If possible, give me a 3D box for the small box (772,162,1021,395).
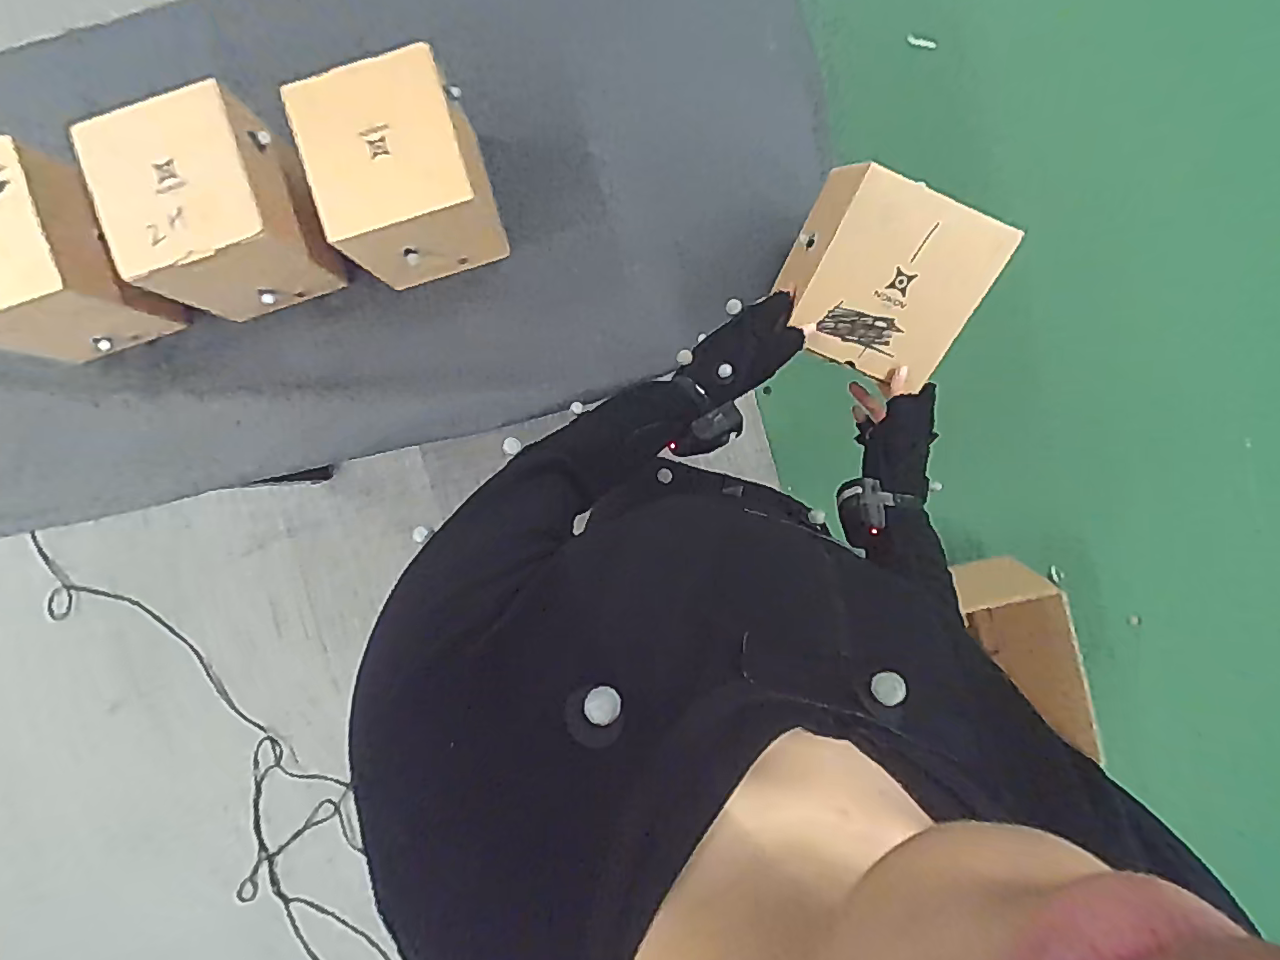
[{"bbox_3d":[0.262,-0.227,0.607,0.168,0.176,0.179,22,117,-5],"label":"small box"}]

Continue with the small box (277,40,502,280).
[{"bbox_3d":[-0.283,-0.362,0.653,0.168,0.176,0.179,-17,91,1],"label":"small box"}]

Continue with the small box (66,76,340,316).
[{"bbox_3d":[-0.504,-0.324,0.652,0.168,0.176,0.179,-18,92,1],"label":"small box"}]
